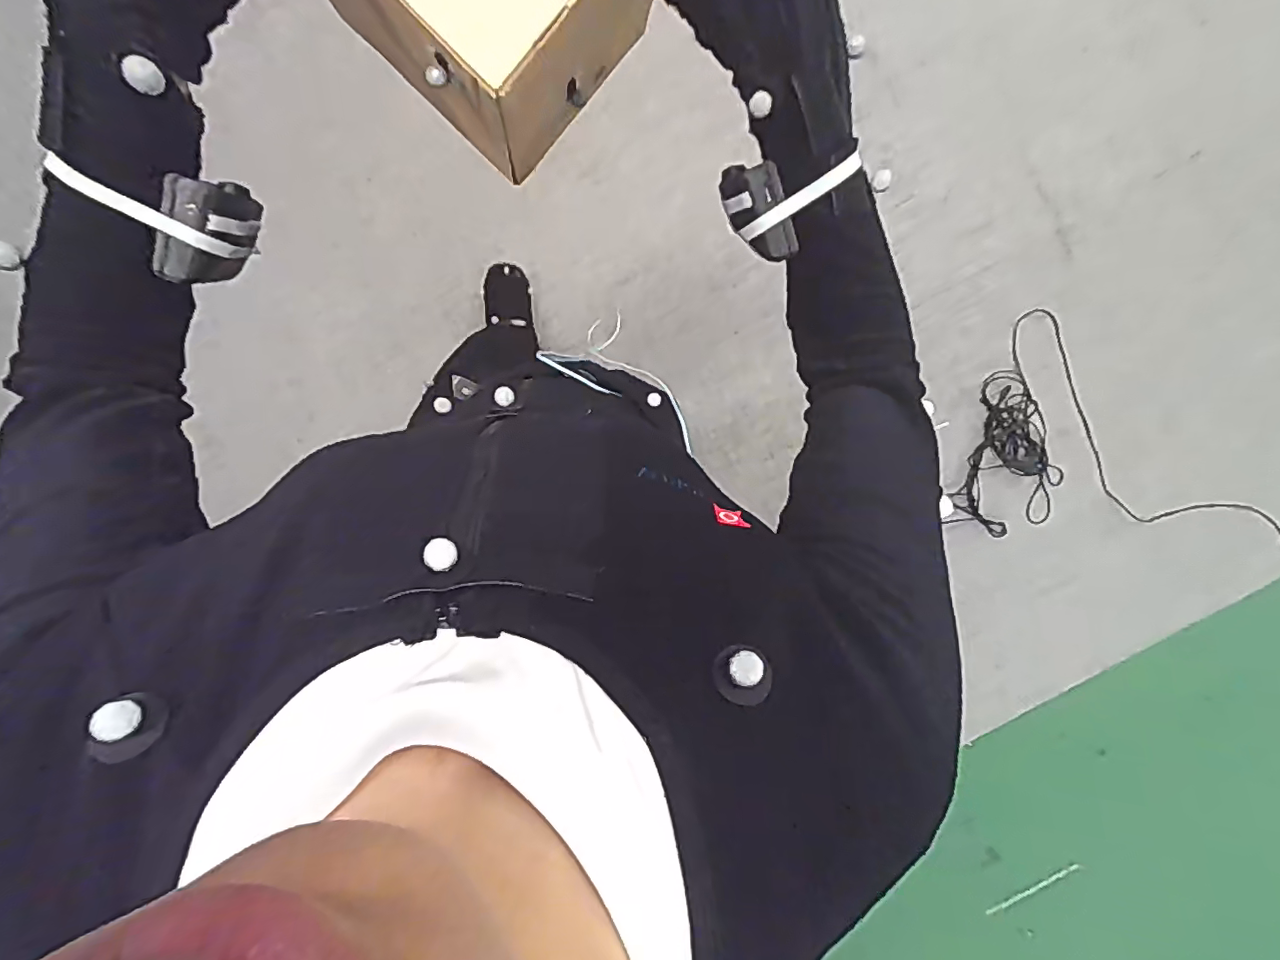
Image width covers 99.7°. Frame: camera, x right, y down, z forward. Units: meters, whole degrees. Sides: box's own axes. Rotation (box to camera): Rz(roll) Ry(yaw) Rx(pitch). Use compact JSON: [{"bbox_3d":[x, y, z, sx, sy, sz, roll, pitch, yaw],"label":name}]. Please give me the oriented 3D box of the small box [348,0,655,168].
[{"bbox_3d":[-0.097,-0.350,0.355,0.179,0.176,0.168,41,94,-16],"label":"small box"}]
